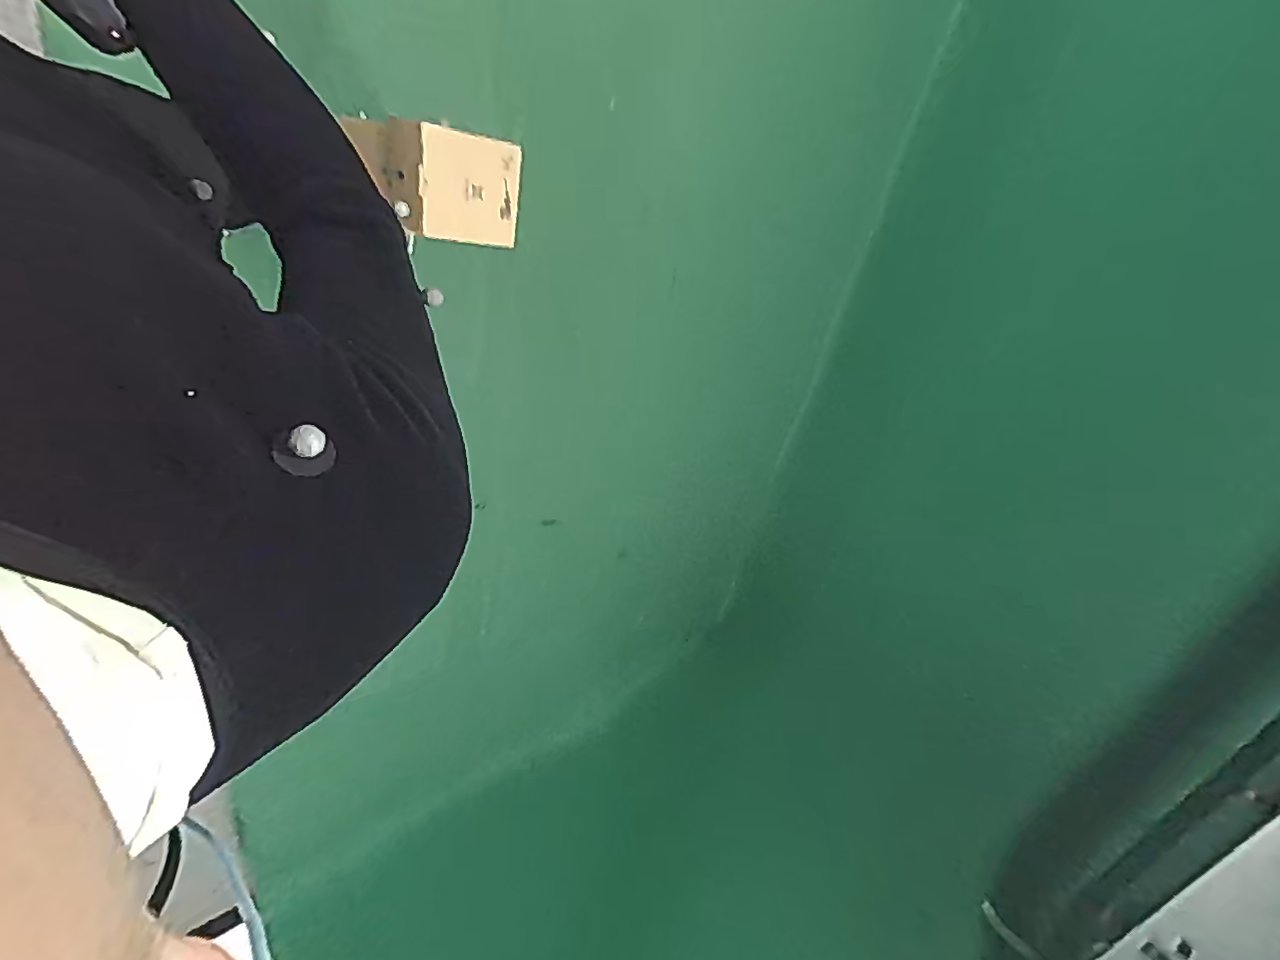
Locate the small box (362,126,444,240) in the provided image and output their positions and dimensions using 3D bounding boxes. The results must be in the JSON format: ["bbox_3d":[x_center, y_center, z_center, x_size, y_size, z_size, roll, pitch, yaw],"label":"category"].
[{"bbox_3d":[-0.439,-0.589,1.078,0.168,0.176,0.179,-16,129,-38],"label":"small box"}]

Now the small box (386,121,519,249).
[{"bbox_3d":[-0.340,-0.524,0.964,0.179,0.176,0.168,-11,126,-40],"label":"small box"}]

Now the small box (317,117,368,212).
[{"bbox_3d":[-0.647,-0.738,1.280,0.168,0.176,0.179,-16,129,-39],"label":"small box"}]

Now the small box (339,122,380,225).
[{"bbox_3d":[-0.543,-0.661,1.182,0.168,0.176,0.179,-14,127,-40],"label":"small box"}]
